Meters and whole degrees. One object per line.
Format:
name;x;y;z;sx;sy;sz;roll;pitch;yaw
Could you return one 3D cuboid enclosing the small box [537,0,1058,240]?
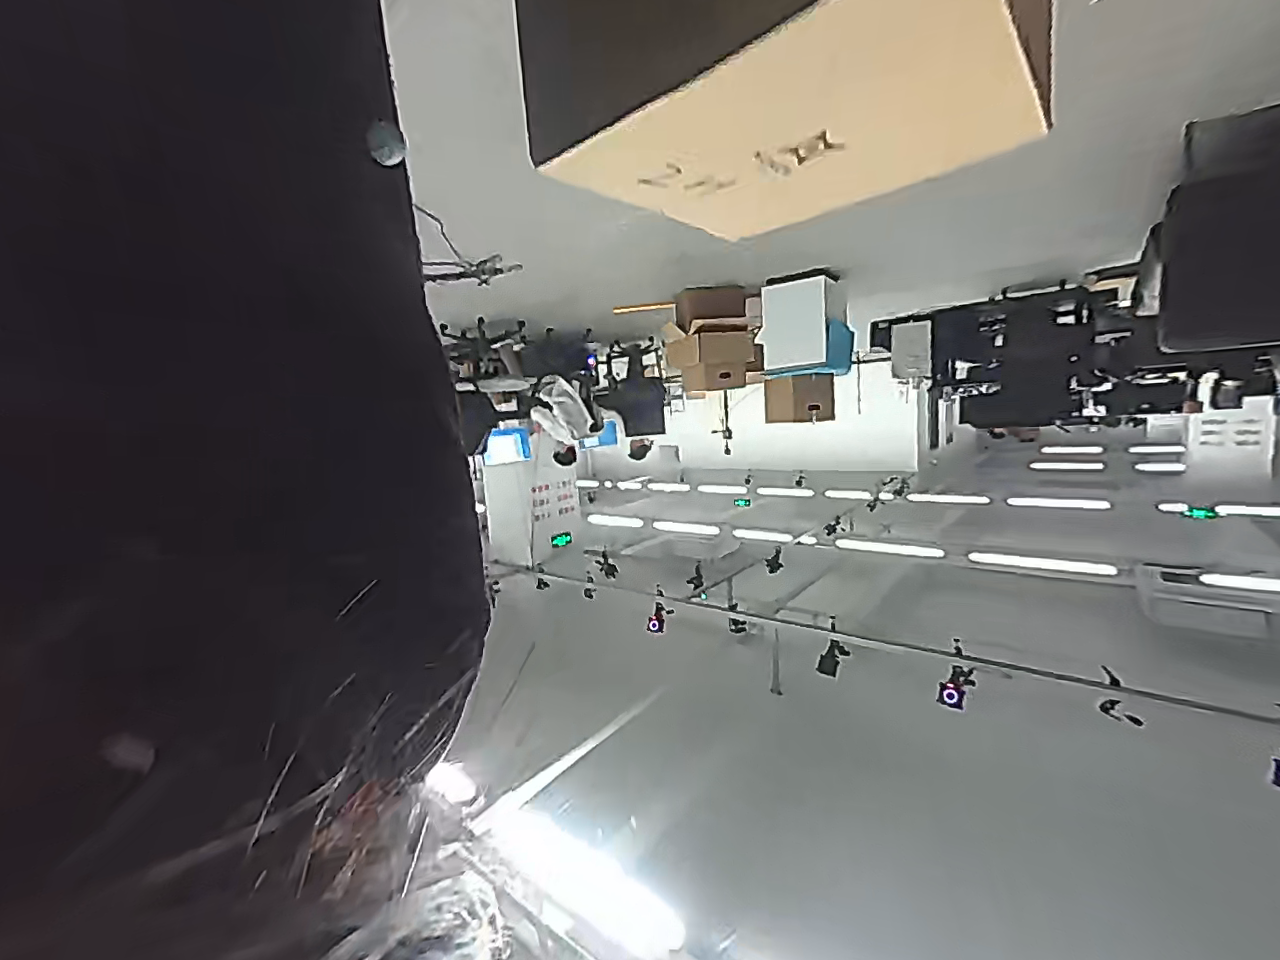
small box;0.064;-0.226;0.230;0.179;0.176;0.168;3;-171;41
